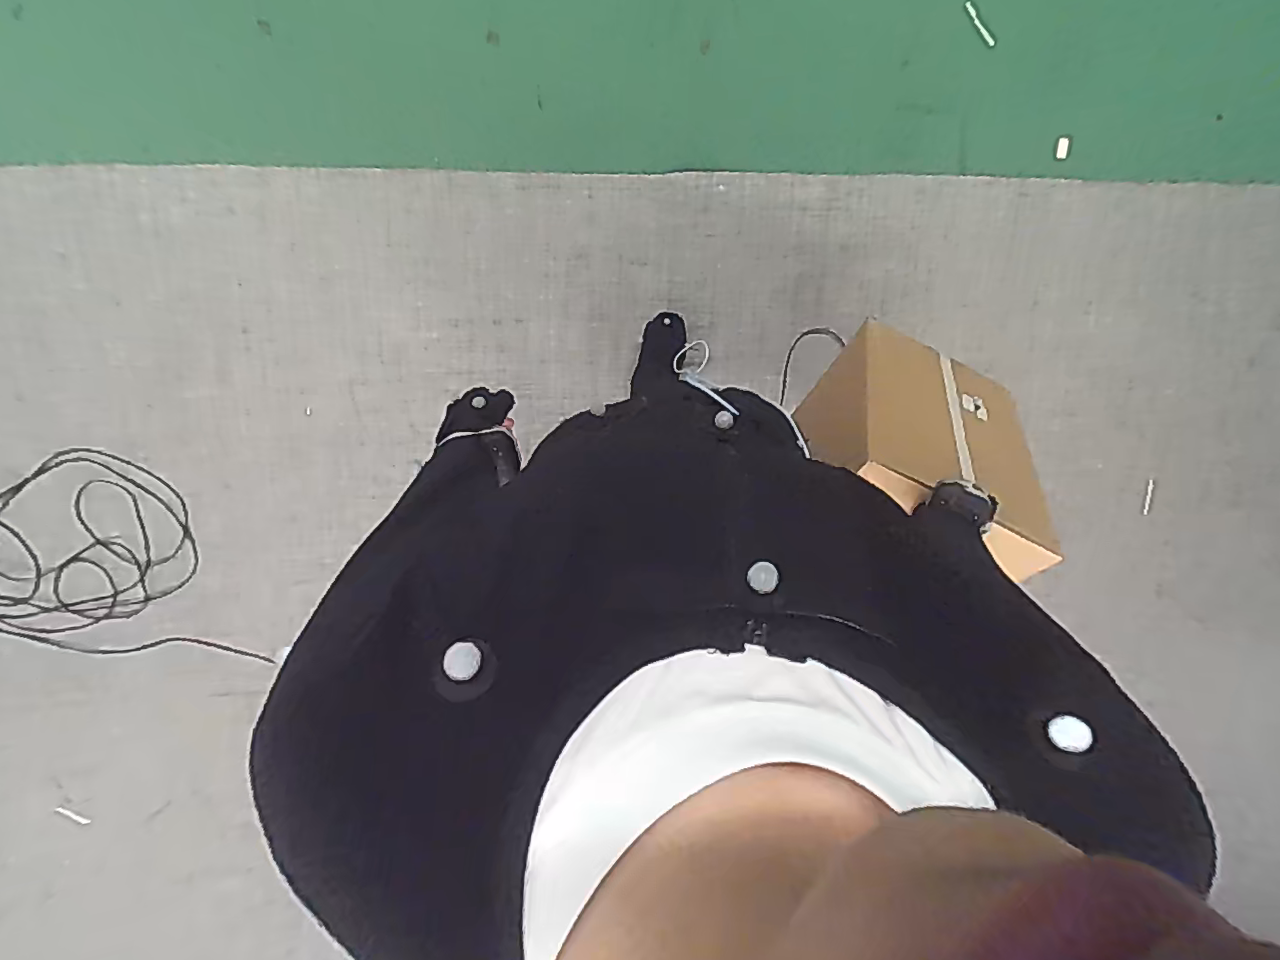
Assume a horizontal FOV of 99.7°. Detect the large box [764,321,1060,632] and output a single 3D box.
[{"bbox_3d":[0.449,-0.006,0.981,0.320,0.408,0.320,26,137,-4],"label":"large box"}]
